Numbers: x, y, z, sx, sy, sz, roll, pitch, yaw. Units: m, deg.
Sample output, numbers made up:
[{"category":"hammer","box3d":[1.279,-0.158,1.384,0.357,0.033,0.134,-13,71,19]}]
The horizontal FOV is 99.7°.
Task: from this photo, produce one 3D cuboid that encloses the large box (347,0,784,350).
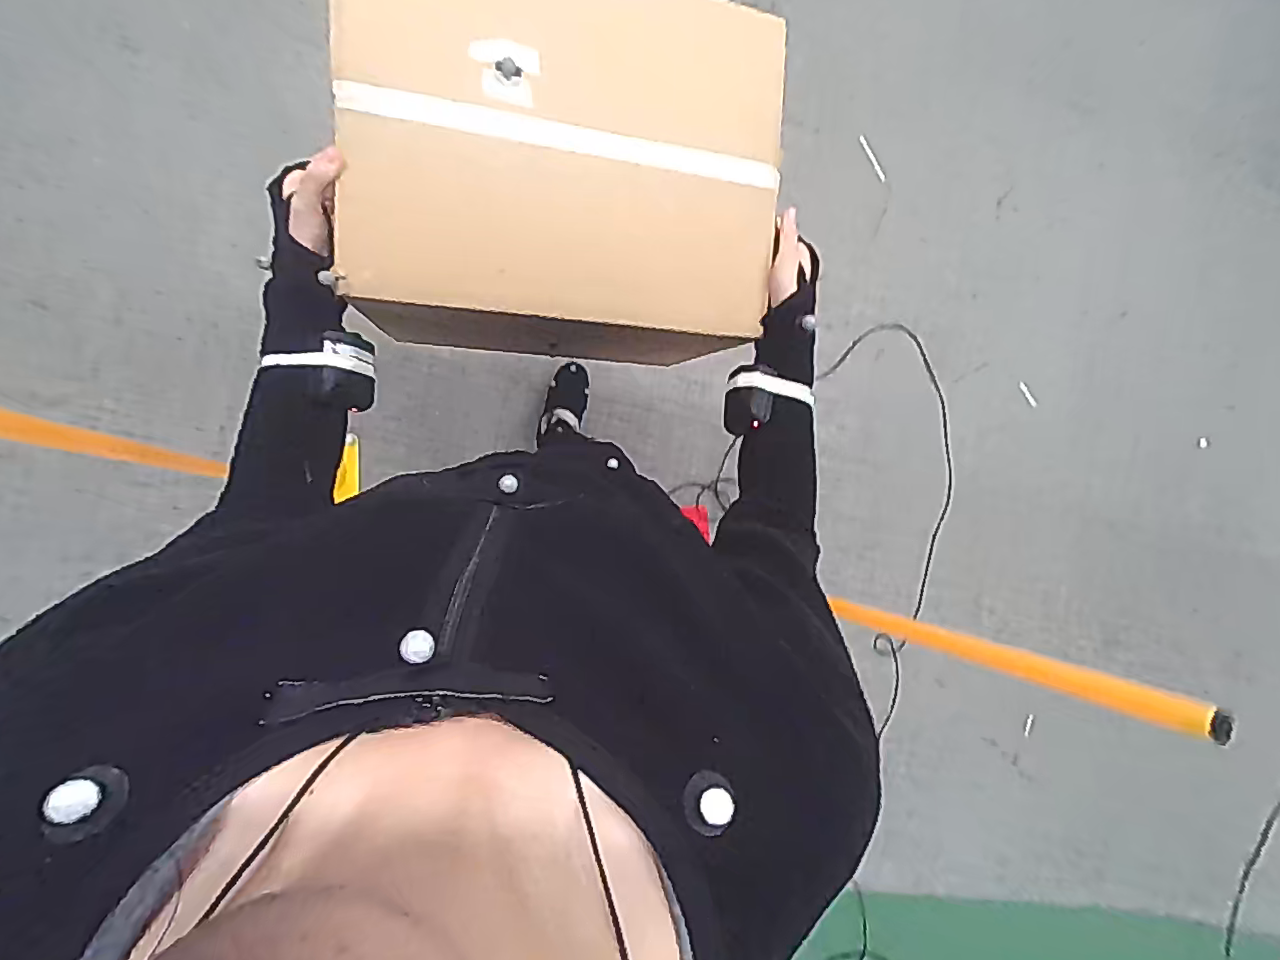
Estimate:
[{"category":"large box","box3d":[-0.092,-0.334,0.647,0.408,0.320,0.320,2,97,-16]}]
